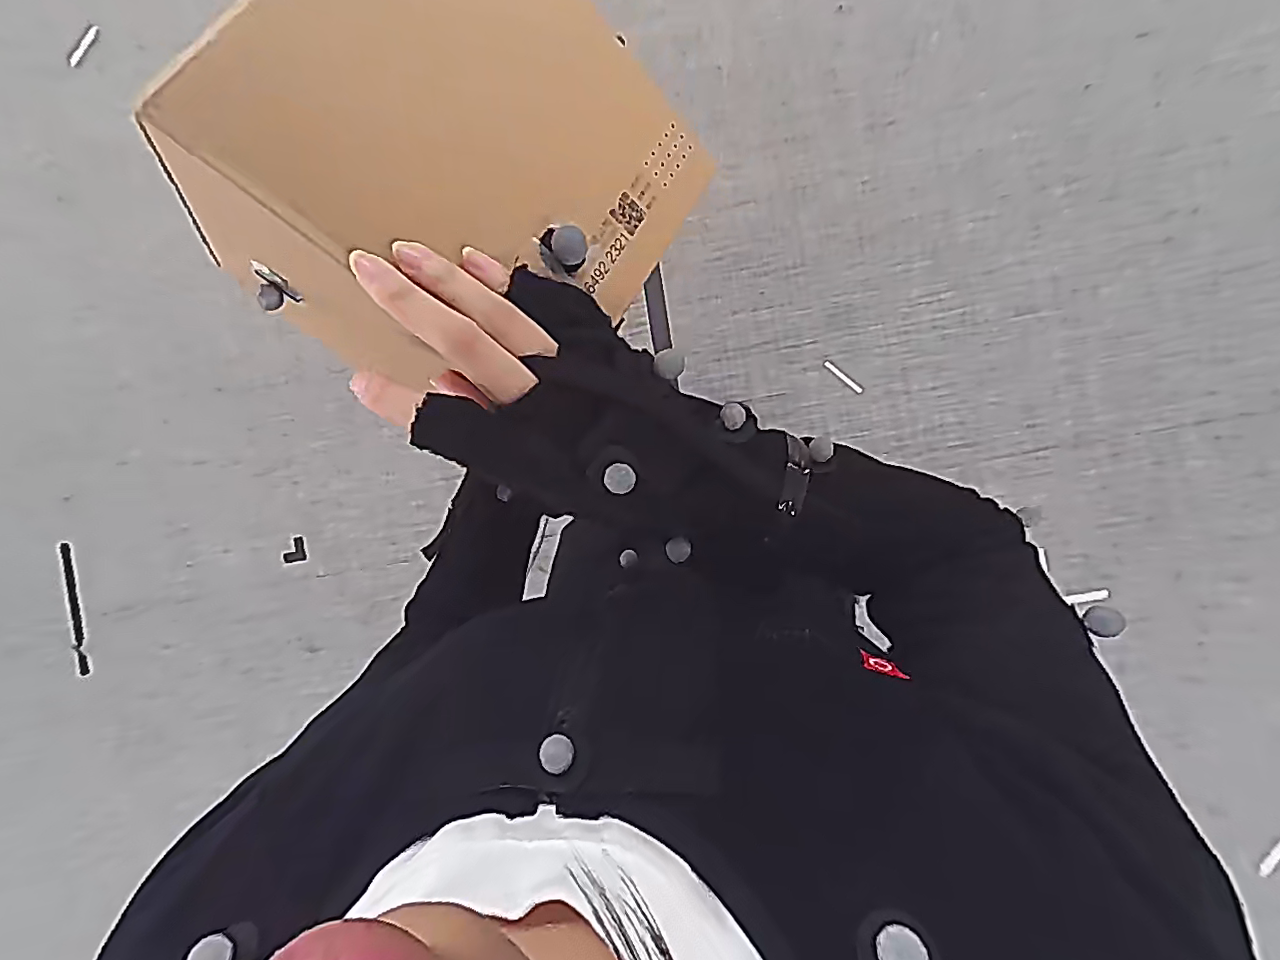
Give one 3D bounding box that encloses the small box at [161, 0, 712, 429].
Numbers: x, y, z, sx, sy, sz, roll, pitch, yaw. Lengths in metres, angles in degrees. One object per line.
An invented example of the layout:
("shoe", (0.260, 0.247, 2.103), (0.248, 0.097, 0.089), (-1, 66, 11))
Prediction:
("small box", (-0.096, -0.139, 0.299), (0.176, 0.179, 0.168), (37, 75, -27))
